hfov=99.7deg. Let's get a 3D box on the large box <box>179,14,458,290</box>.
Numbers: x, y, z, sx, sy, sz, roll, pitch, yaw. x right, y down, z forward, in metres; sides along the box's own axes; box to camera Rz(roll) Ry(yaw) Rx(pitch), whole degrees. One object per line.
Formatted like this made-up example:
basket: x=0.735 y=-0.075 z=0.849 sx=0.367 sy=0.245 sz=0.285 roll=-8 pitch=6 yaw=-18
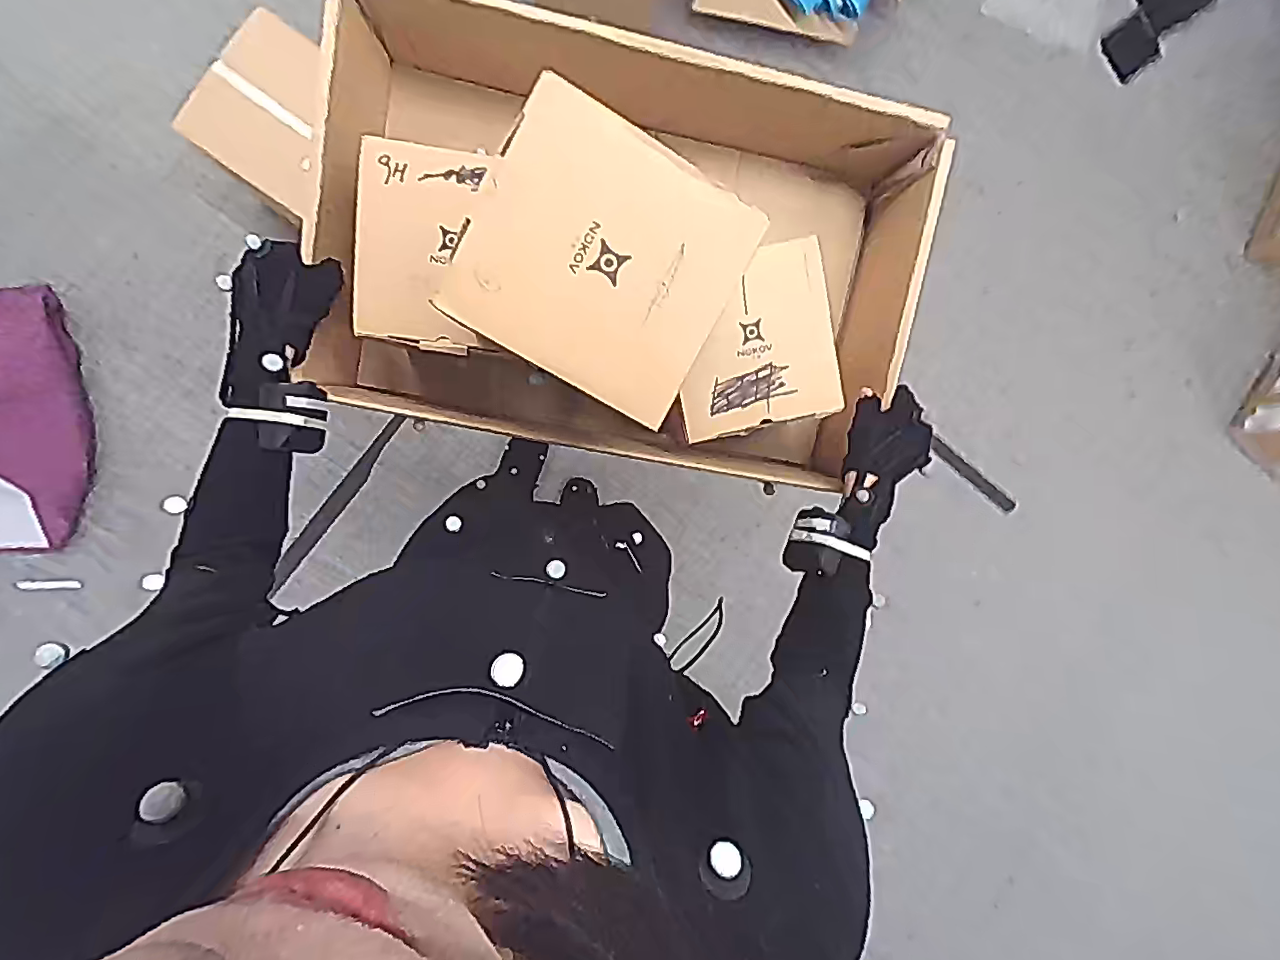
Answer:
large box: x=-0.705 y=-0.726 z=1.266 sx=0.408 sy=0.320 sz=0.320 roll=34 pitch=88 yaw=-8
